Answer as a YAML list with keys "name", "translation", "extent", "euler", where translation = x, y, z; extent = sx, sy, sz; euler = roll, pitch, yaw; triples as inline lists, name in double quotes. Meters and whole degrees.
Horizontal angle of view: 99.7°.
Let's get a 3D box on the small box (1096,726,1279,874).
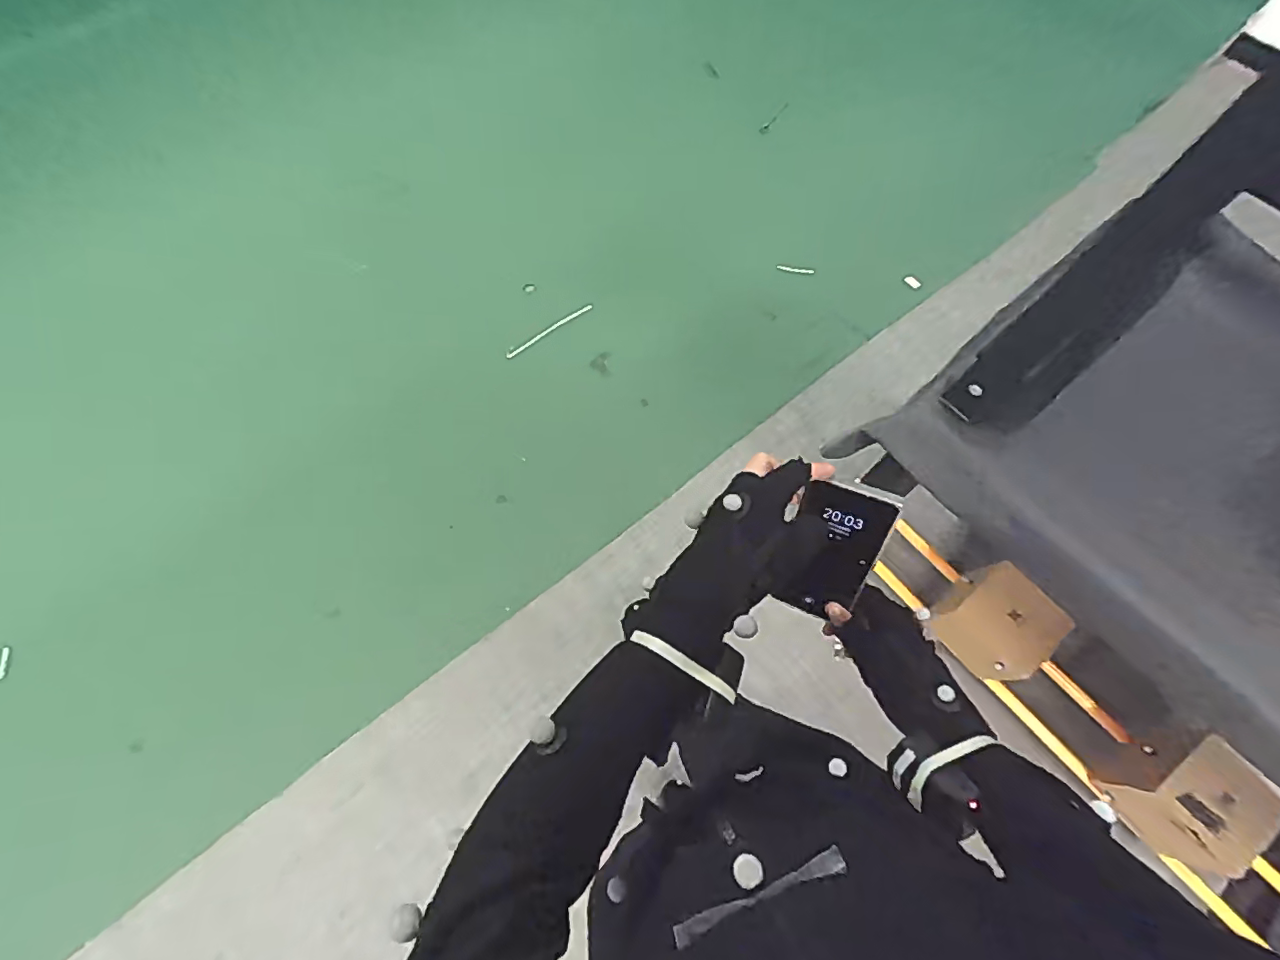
- name: "small box"
  translation: [1.041, 0.600, 1.039]
  extent: [0.179, 0.176, 0.168]
  euler: [-34, 72, -12]
